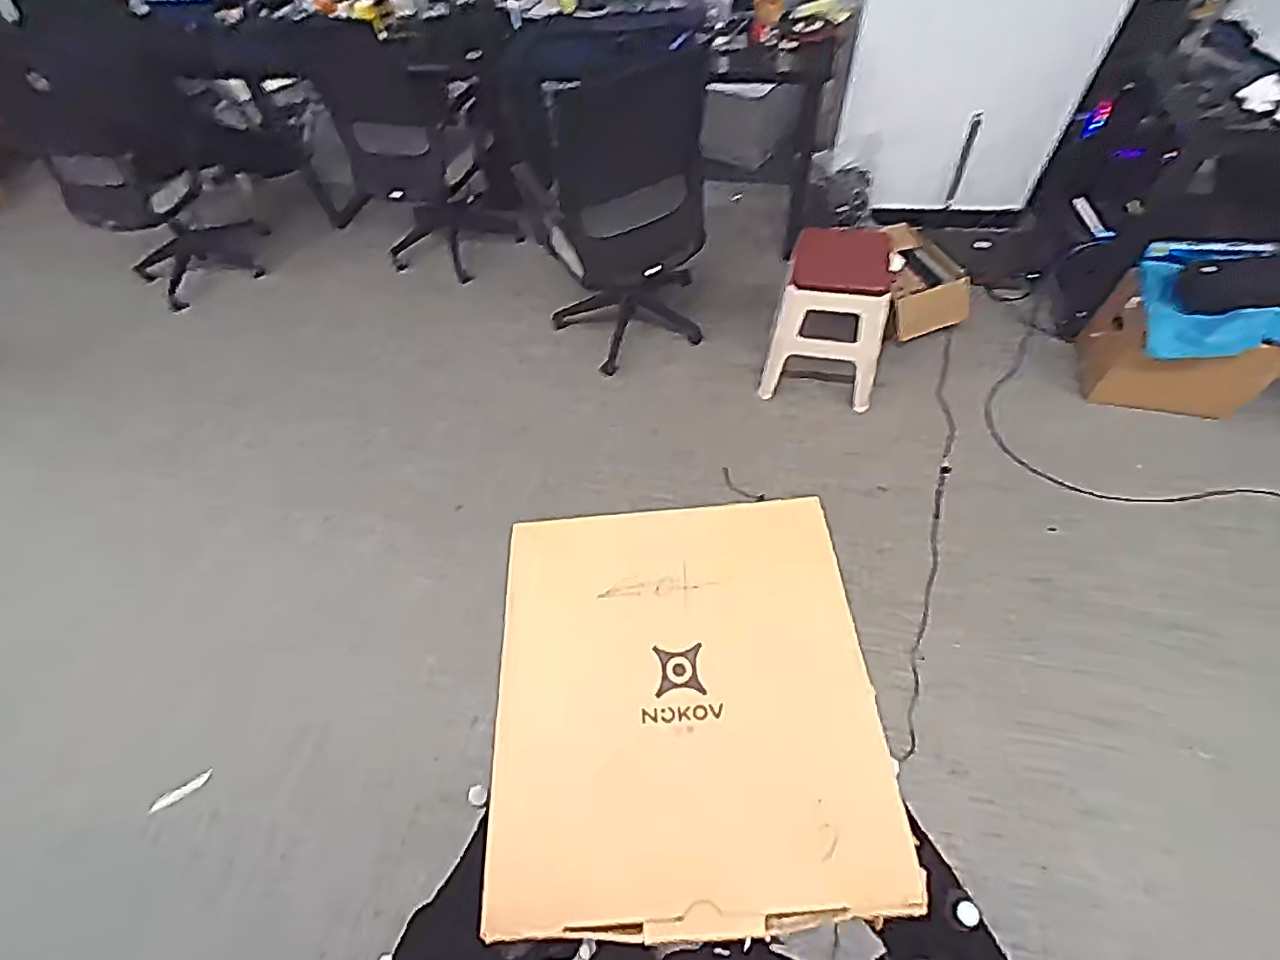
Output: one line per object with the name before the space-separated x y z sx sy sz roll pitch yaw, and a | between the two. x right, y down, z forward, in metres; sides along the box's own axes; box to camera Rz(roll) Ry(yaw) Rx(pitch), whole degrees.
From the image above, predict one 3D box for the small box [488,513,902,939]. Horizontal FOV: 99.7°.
small box | 0.022 0.141 0.320 0.168 0.176 0.179 -5 56 1
